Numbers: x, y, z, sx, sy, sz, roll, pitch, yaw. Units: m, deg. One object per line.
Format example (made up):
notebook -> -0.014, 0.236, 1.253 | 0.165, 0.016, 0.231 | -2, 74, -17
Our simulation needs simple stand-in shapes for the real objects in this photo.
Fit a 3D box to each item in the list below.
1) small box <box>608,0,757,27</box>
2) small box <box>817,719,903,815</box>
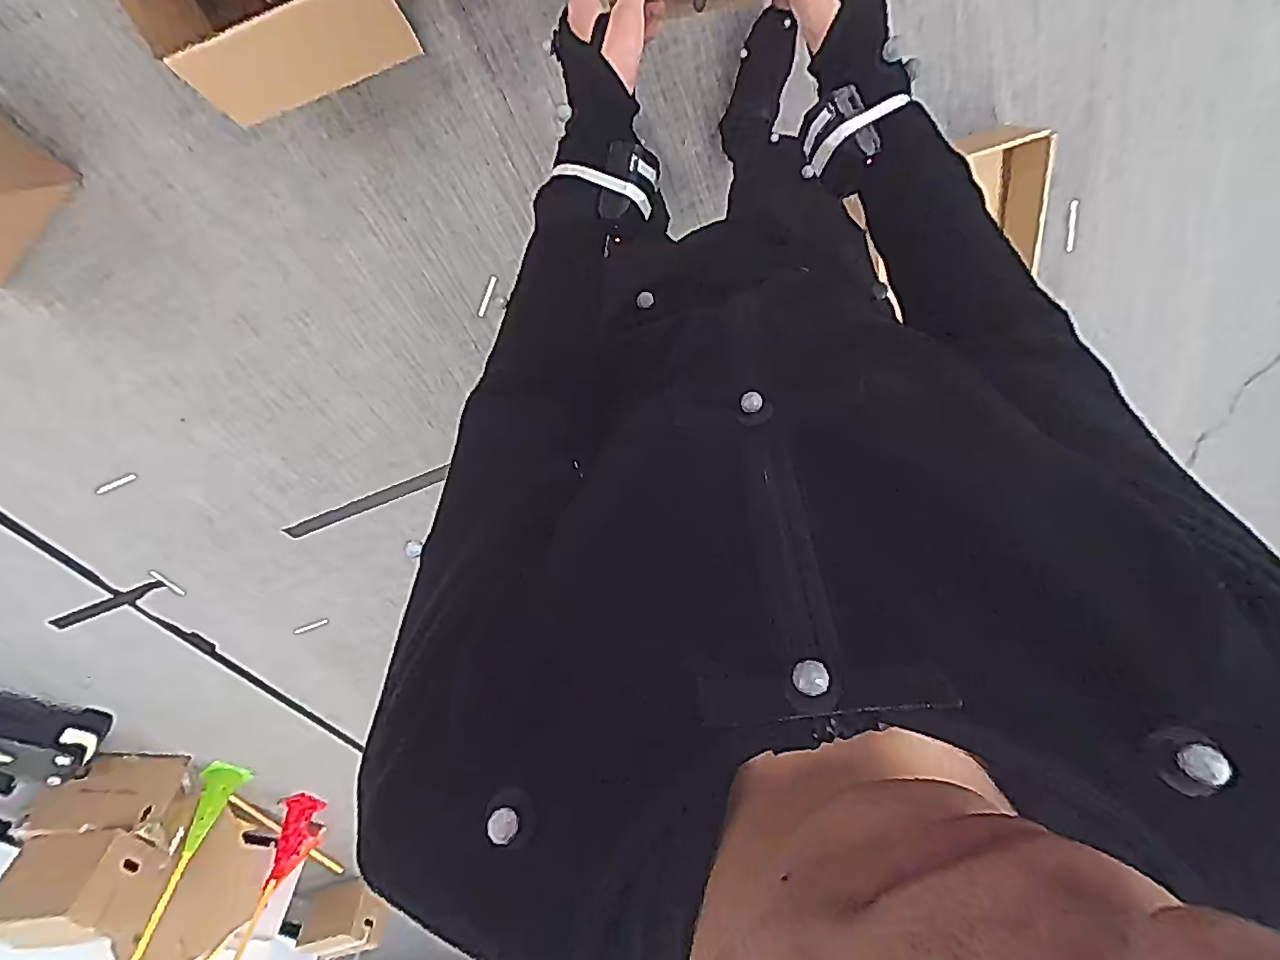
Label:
small box -> 0.045, -0.506, 0.447 | 0.179, 0.176, 0.168 | -8, 122, 5
small box -> 0.595, 0.773, 1.472 | 0.168, 0.176, 0.179 | -17, 126, 7
